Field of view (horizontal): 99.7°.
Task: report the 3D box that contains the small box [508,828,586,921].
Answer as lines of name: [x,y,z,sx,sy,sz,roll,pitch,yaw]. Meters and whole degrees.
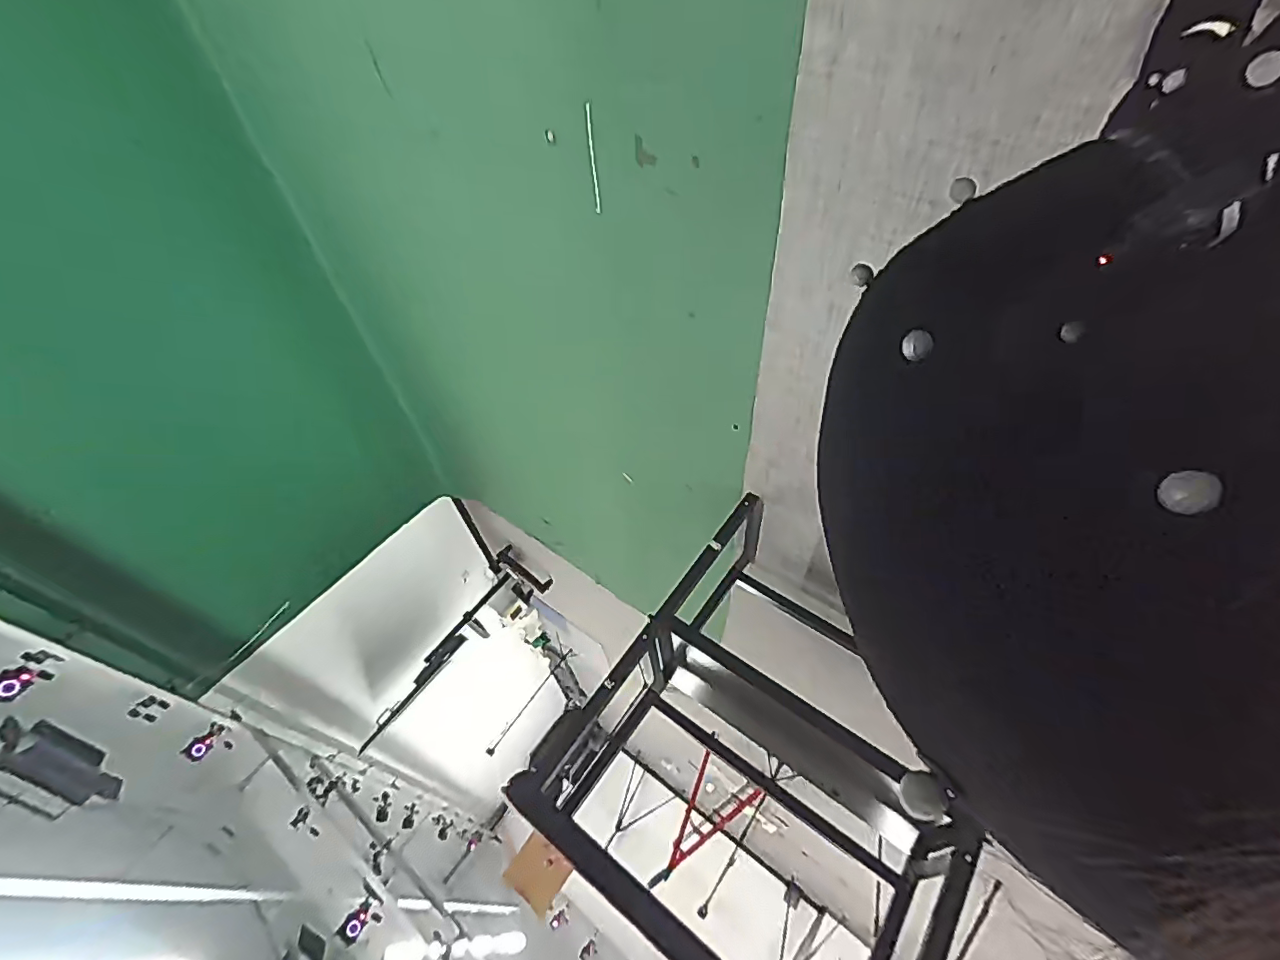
small box: [-0.281,1.209,1.672,0.168,0.176,0.179,33,149,16]
